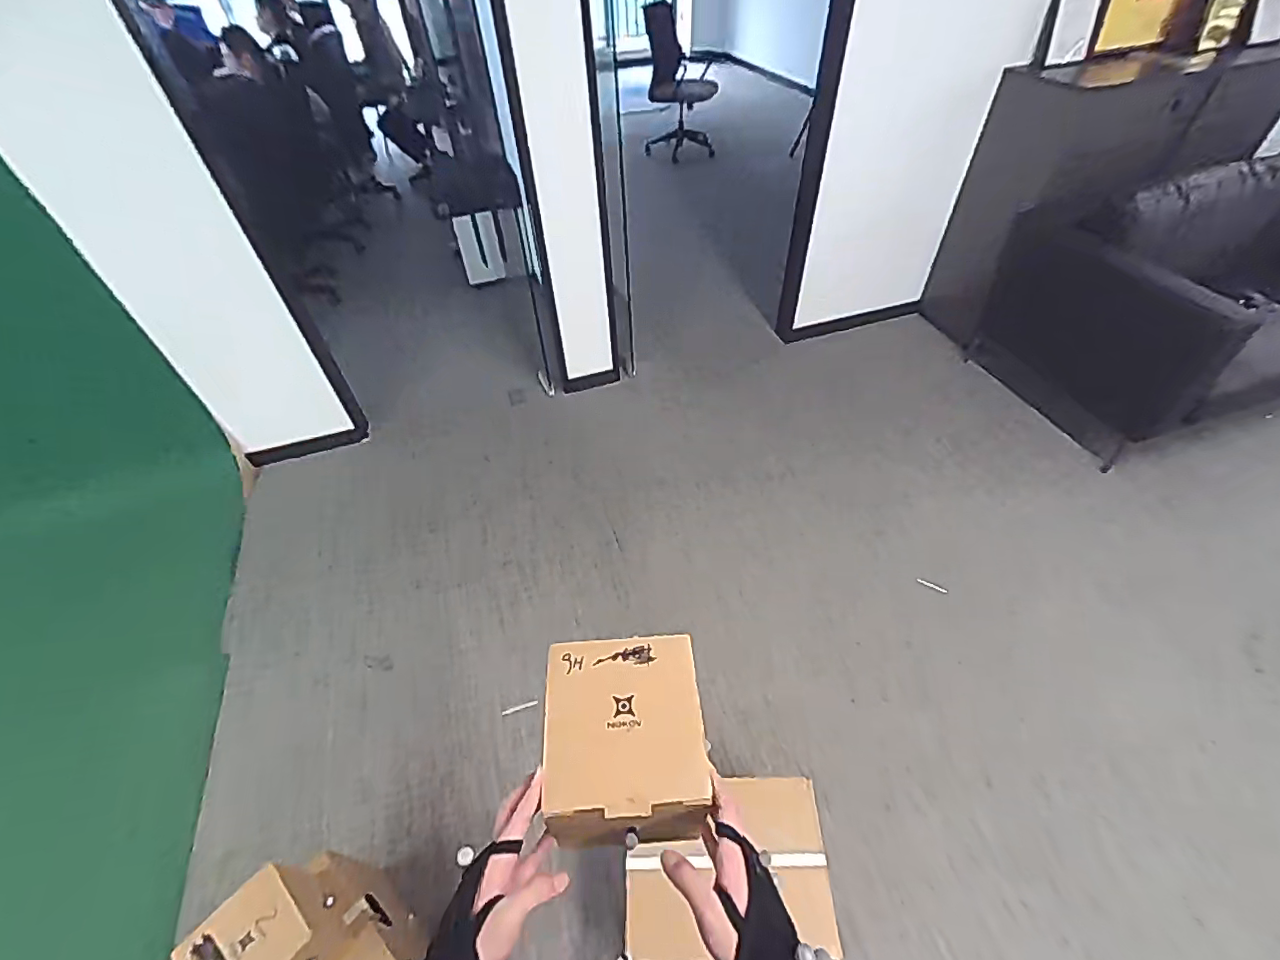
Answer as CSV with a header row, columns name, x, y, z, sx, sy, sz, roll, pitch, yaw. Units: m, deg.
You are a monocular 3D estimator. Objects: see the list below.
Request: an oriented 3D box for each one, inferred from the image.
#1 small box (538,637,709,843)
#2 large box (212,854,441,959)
name,x,y,z,sx,sy,sz,roll,pitch,yaw
small box,-0.018,0.302,0.622,0.168,0.176,0.179,-3,48,-3
large box,-0.674,1.063,1.077,0.320,0.320,0.408,30,56,28
